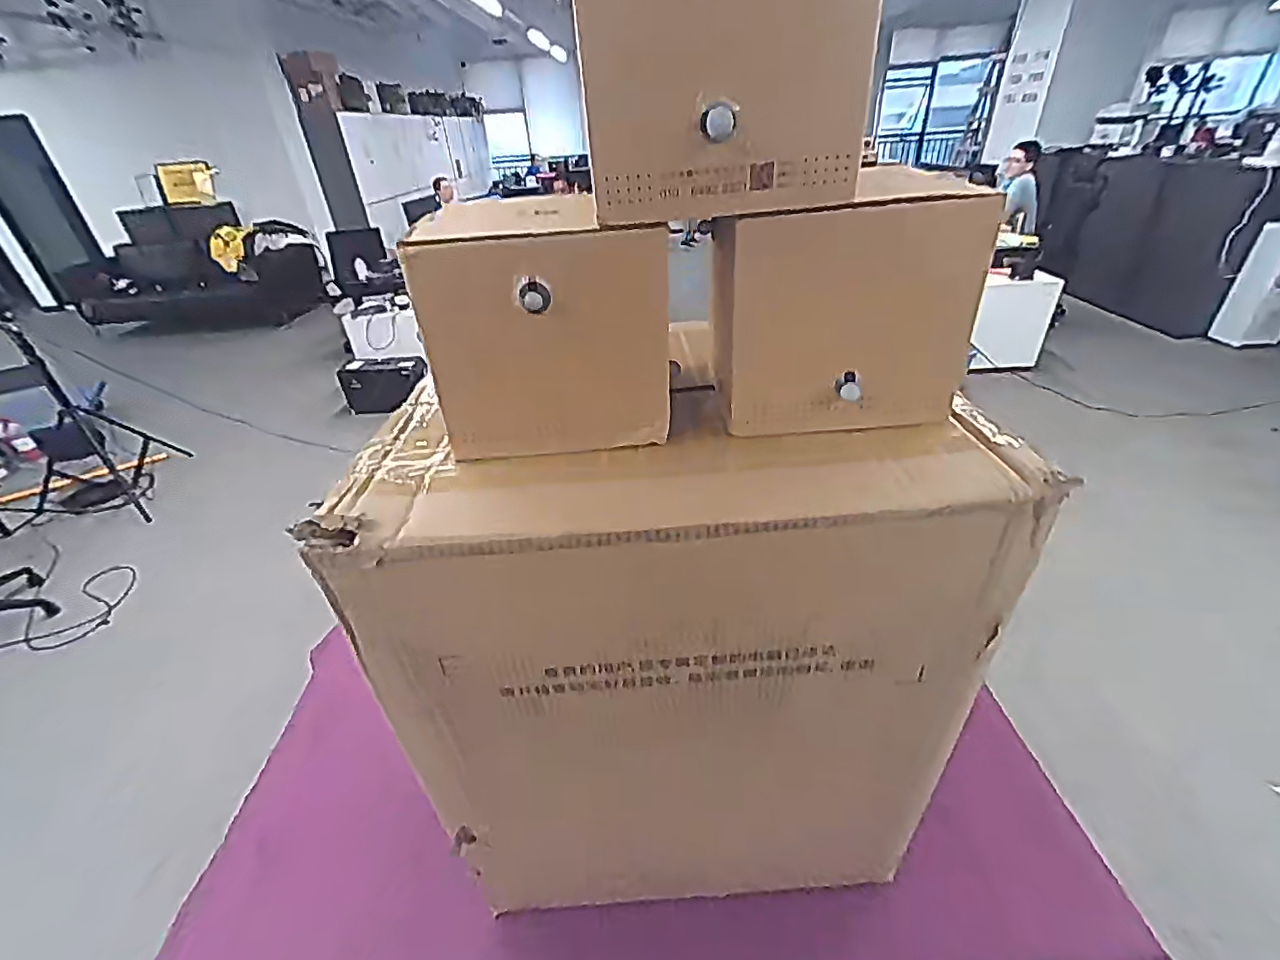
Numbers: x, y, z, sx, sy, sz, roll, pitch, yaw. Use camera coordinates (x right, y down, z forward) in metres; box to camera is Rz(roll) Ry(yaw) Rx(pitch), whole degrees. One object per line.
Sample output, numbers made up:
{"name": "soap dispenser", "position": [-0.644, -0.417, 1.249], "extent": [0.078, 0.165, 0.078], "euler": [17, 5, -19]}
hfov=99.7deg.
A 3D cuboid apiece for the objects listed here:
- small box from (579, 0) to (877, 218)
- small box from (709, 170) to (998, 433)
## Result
{"name": "small box", "position": [0.046, -0.285, 0.372], "extent": [0.168, 0.176, 0.179], "euler": [-5, 35, 1]}
{"name": "small box", "position": [0.153, -0.154, 0.462], "extent": [0.179, 0.176, 0.168], "euler": [-5, 33, 2]}
